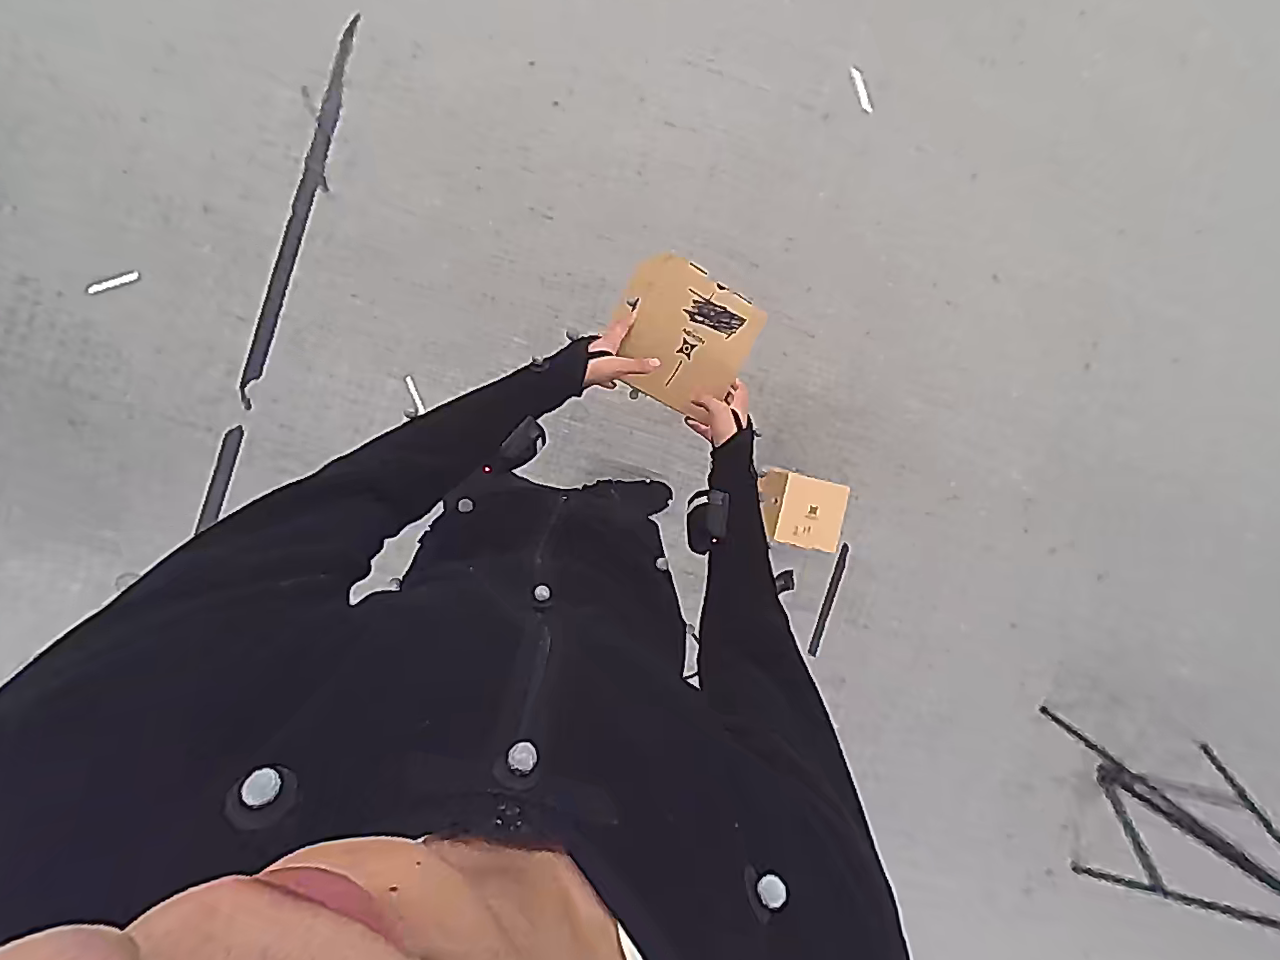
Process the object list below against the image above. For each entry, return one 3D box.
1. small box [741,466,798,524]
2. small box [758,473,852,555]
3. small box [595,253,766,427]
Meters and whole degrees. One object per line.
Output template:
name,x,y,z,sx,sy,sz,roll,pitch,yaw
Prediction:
small box,0.415,0.057,1.587,0.179,0.176,0.168,14,93,-4
small box,0.426,0.082,1.424,0.168,0.176,0.179,13,93,-5
small box,0.046,-0.203,0.795,0.168,0.176,0.179,25,99,-19
